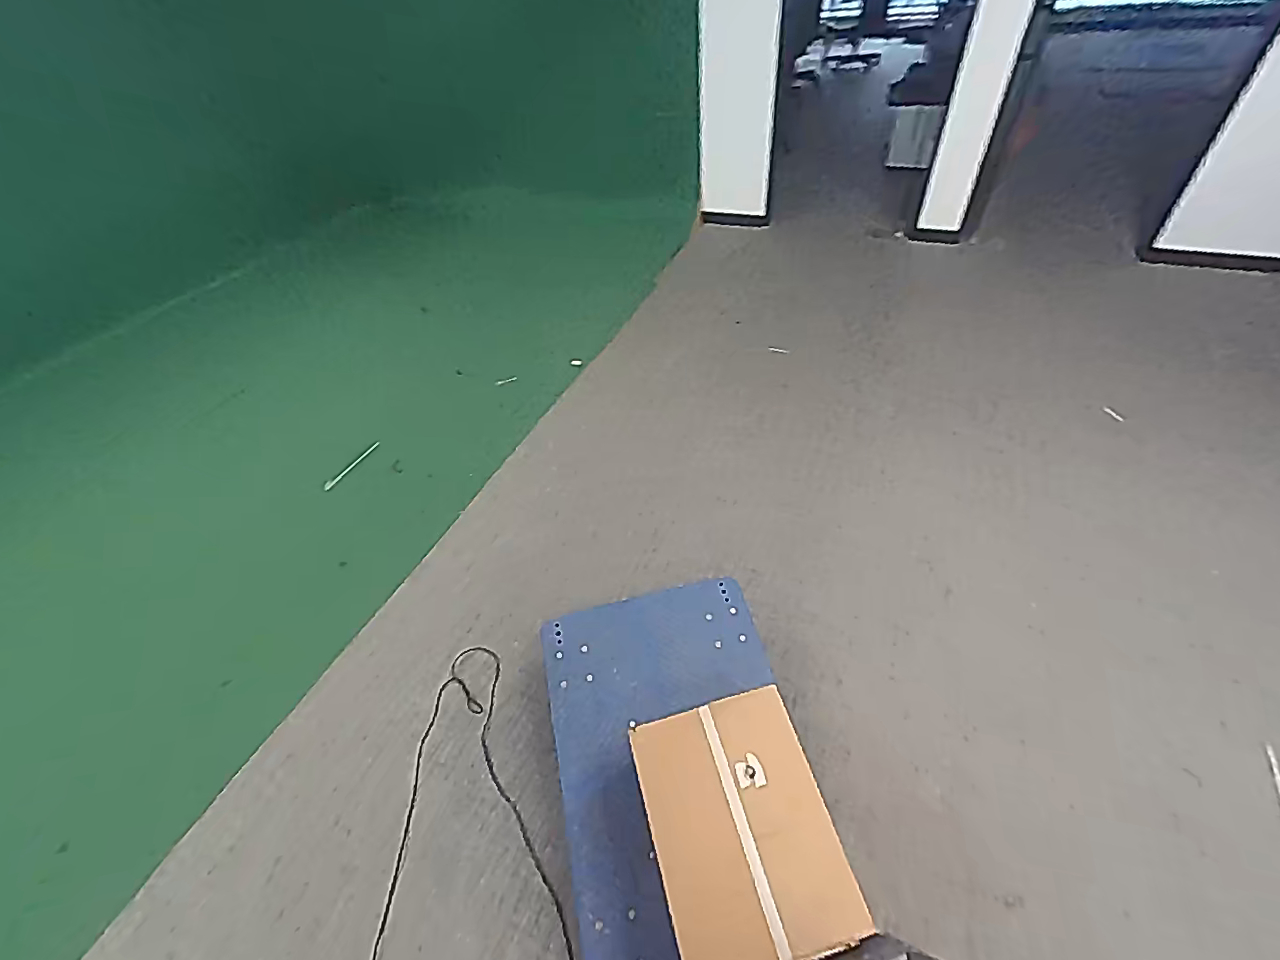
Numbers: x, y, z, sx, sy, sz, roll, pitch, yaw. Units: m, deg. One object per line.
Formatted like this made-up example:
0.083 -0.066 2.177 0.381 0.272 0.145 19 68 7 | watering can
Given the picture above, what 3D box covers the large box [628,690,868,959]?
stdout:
0.187 0.710 1.096 0.320 0.320 0.408 -14 52 -7 | large box
